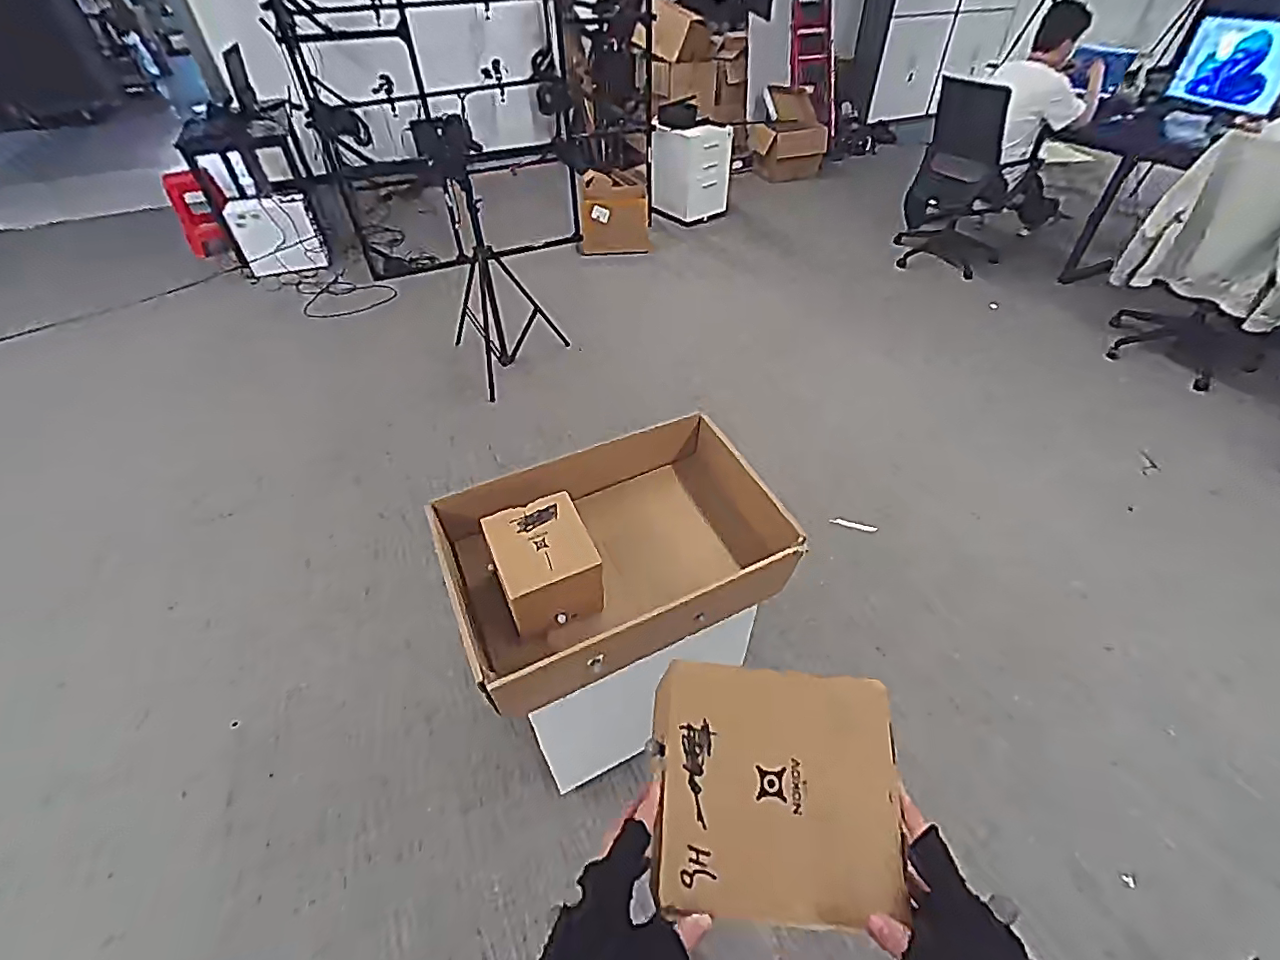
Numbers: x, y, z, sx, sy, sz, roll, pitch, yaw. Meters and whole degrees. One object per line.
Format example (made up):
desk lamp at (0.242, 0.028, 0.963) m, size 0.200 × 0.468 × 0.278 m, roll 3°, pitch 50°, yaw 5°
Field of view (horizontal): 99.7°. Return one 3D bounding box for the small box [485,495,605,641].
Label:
small box at (-0.173, 0.163, 0.997) m, size 0.168 × 0.176 × 0.179 m, roll -20°, pitch 53°, yaw -18°

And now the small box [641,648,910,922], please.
small box at (0.100, 0.253, 0.471) m, size 0.179 × 0.176 × 0.168 m, roll 6°, pitch 62°, yaw 0°
